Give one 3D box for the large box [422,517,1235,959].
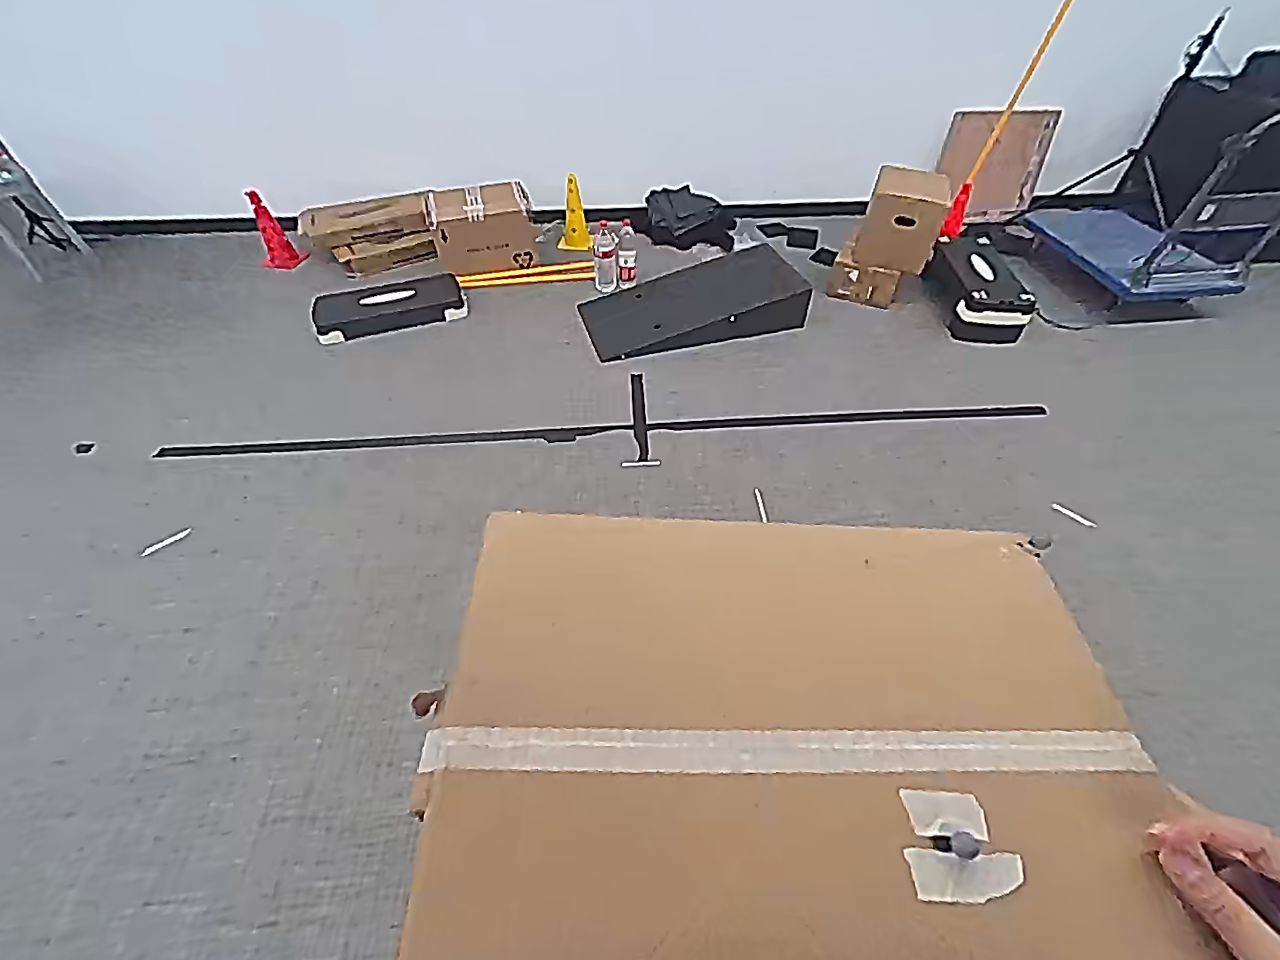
[{"bbox_3d":[0.081,0.248,0.431,0.408,0.320,0.320,3,51,-5],"label":"large box"}]
